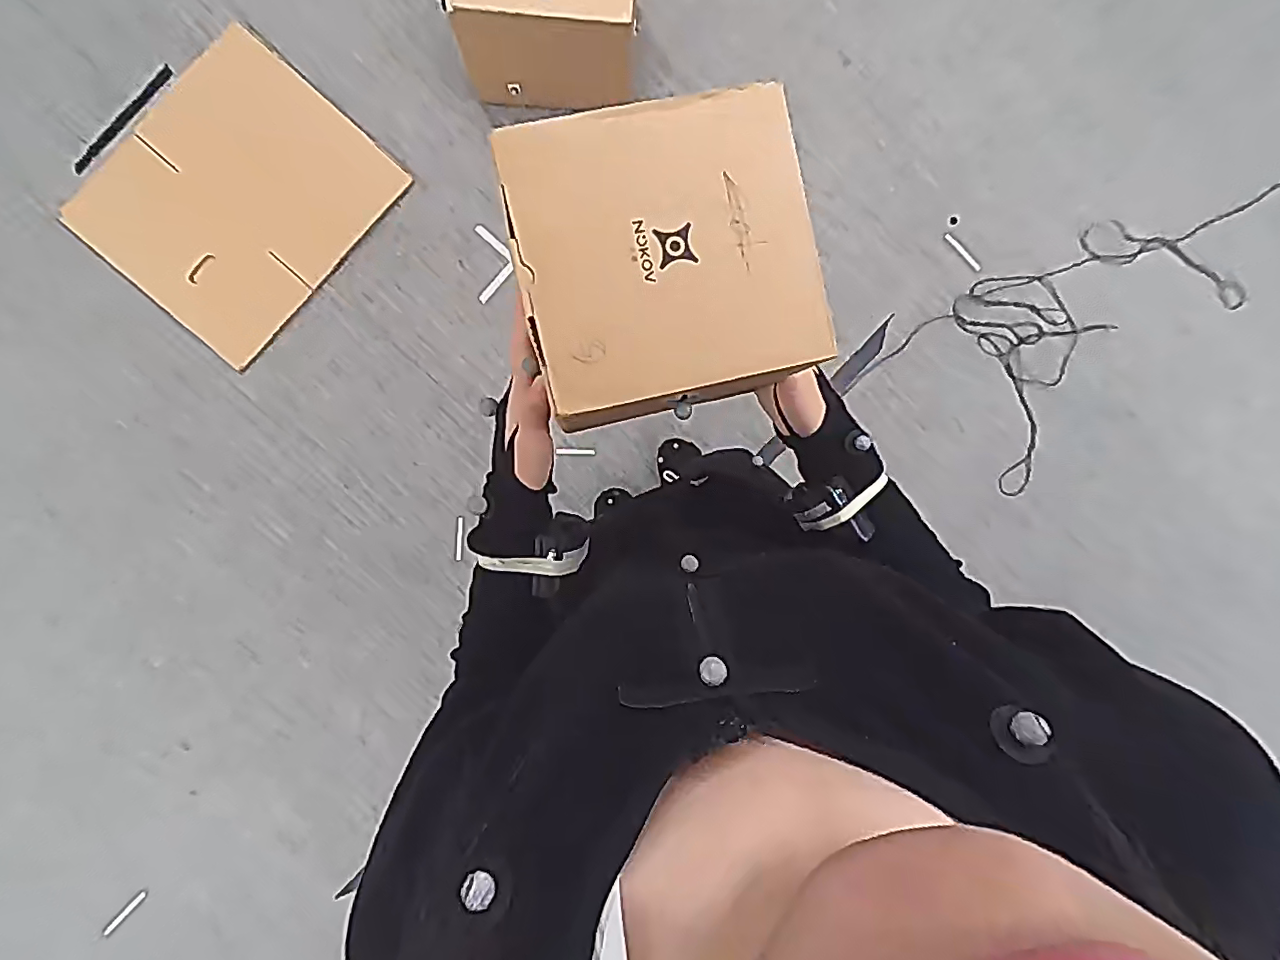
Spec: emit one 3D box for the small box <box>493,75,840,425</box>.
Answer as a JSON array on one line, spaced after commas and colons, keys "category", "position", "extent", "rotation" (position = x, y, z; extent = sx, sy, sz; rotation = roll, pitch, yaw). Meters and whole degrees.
[{"category": "small box", "position": [0.011, -0.139, 0.391], "extent": [0.179, 0.176, 0.168], "rotation": [-14, 94, -5]}]
